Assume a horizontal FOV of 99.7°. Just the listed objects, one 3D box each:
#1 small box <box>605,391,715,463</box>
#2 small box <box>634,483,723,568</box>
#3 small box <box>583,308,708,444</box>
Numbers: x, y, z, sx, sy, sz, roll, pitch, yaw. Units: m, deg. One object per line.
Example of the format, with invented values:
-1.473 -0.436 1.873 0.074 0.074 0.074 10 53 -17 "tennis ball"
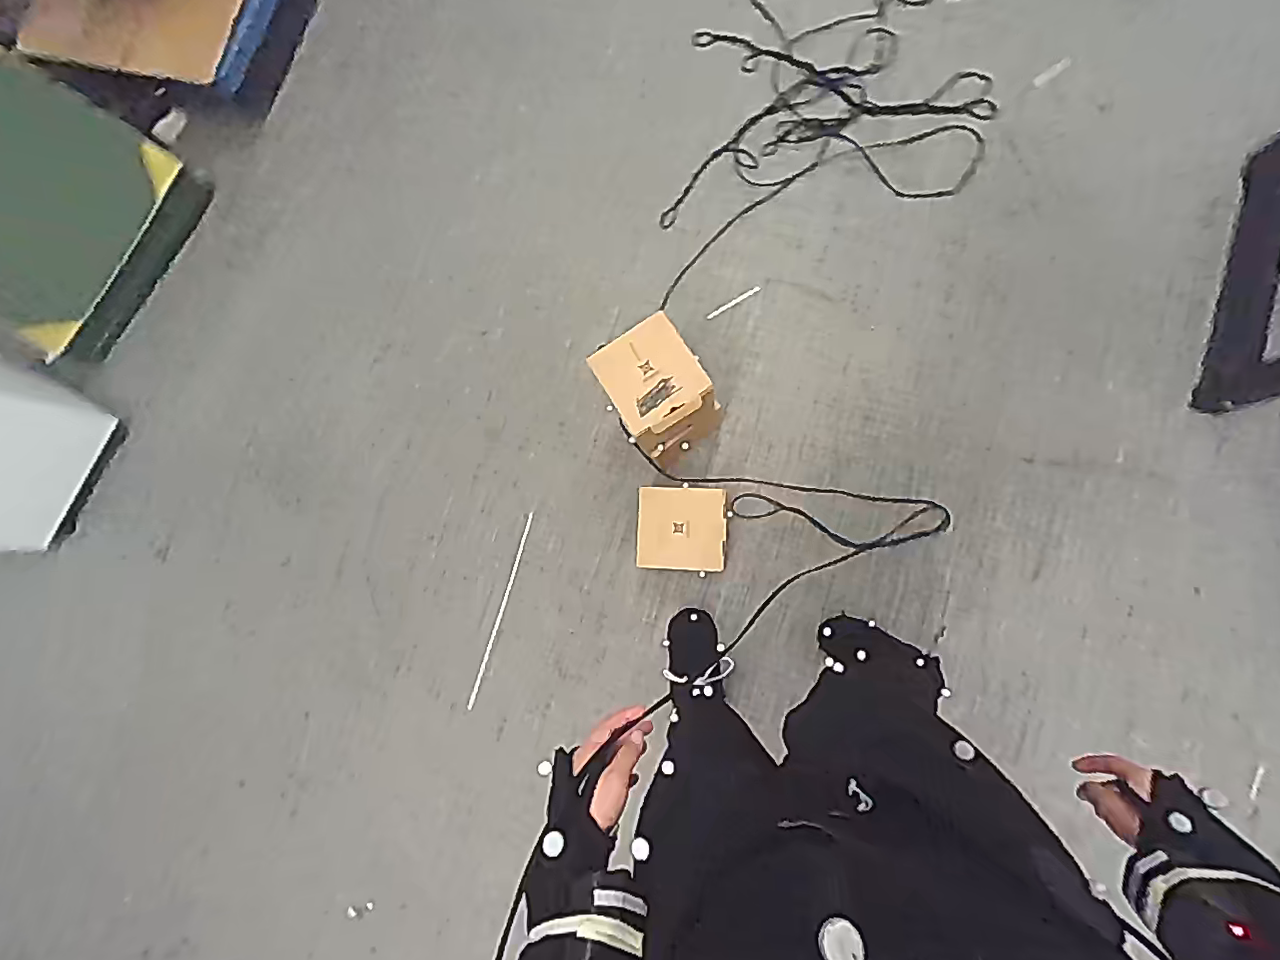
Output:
0.053 -0.156 1.190 0.179 0.176 0.168 -38 79 2 "small box"
0.087 0.098 1.155 0.179 0.176 0.168 1 82 9 "small box"
0.020 -0.184 1.031 0.168 0.176 0.179 -32 78 2 "small box"
